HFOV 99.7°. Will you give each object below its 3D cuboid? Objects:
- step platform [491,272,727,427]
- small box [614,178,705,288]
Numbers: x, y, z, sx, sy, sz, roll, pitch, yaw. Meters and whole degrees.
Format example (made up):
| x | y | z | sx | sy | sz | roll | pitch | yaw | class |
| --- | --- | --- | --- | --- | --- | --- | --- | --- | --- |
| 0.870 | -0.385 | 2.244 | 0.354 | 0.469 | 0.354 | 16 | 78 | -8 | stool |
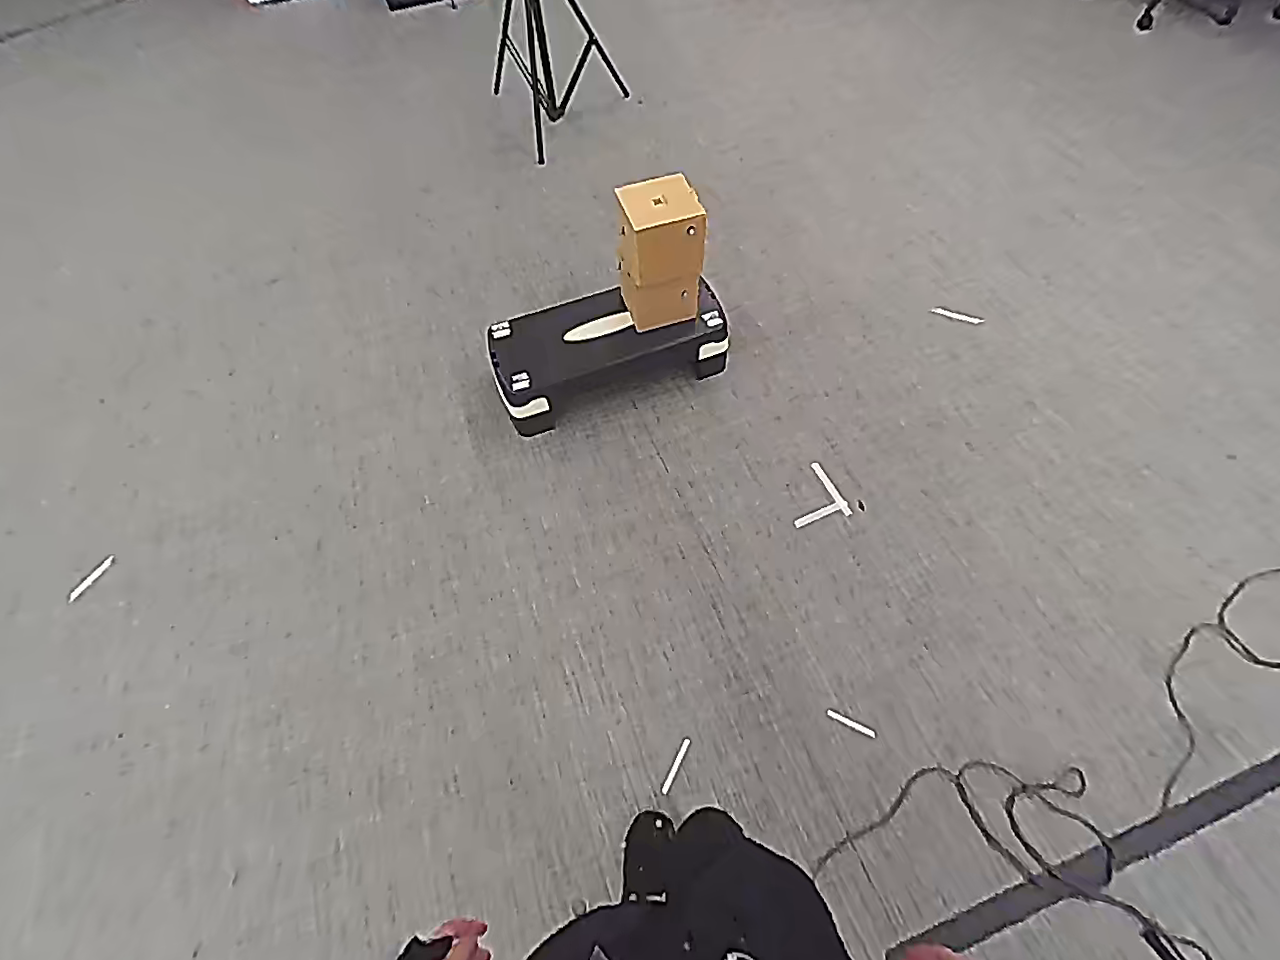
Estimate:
| x | y | z | sx | sy | sz | roll | pitch | yaw | class |
| --- | --- | --- | --- | --- | --- | --- | --- | --- | --- |
| -0.089 | -0.409 | 1.616 | 0.684 | 0.204 | 0.286 | -21 | 62 | -8 | step platform |
| 0.047 | -0.602 | 1.332 | 0.179 | 0.176 | 0.168 | -17 | 62 | -7 | small box |
